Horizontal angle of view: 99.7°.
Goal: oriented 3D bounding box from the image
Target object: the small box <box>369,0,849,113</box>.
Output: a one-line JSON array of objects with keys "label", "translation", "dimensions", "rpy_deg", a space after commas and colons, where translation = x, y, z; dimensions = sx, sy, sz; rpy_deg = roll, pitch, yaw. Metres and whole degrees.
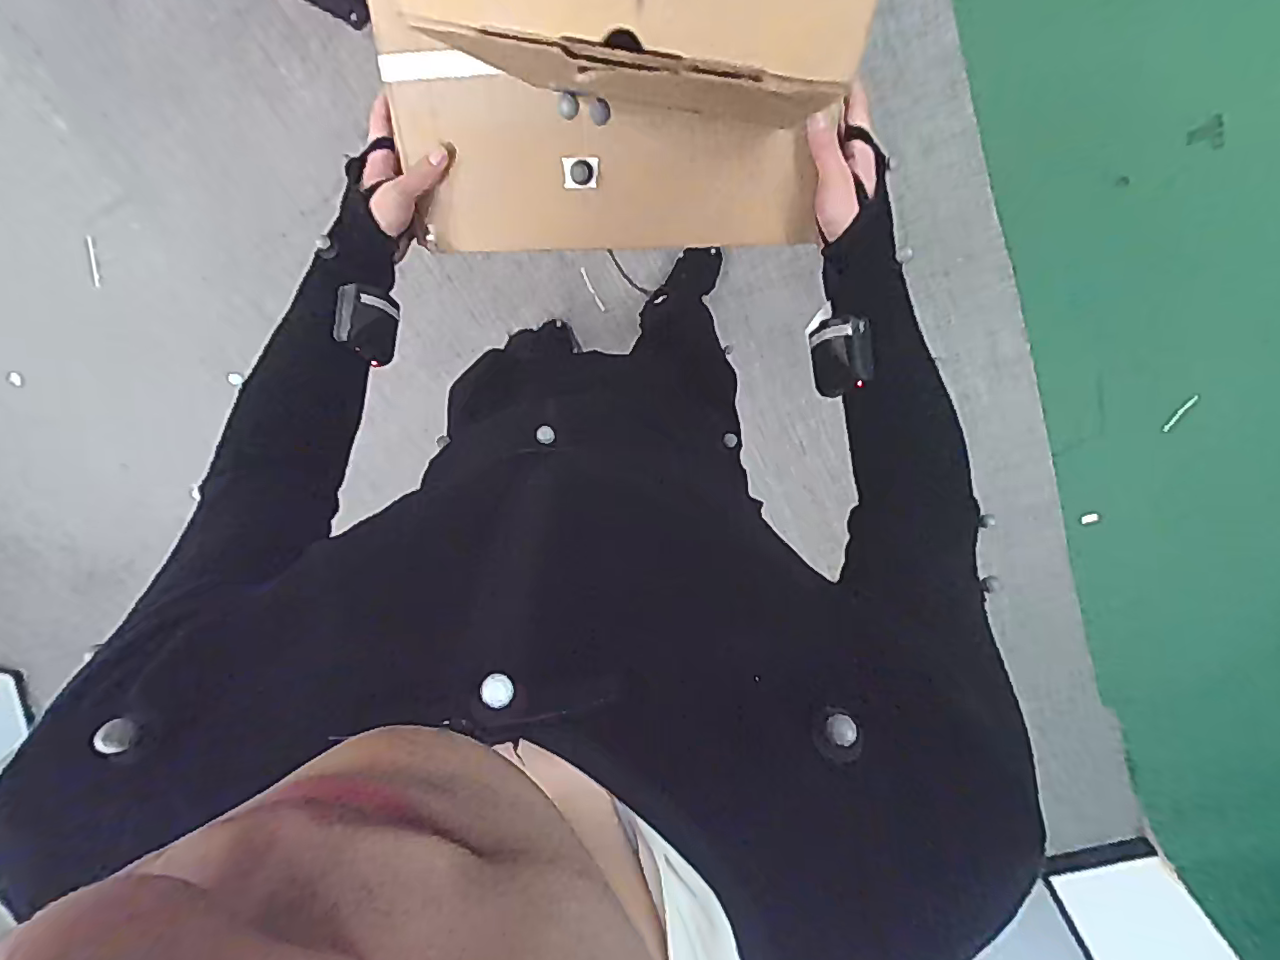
[{"label": "small box", "translation": [0.007, -0.260, 0.209], "dimensions": [0.168, 0.176, 0.179], "rpy_deg": [10, 120, 2]}]
